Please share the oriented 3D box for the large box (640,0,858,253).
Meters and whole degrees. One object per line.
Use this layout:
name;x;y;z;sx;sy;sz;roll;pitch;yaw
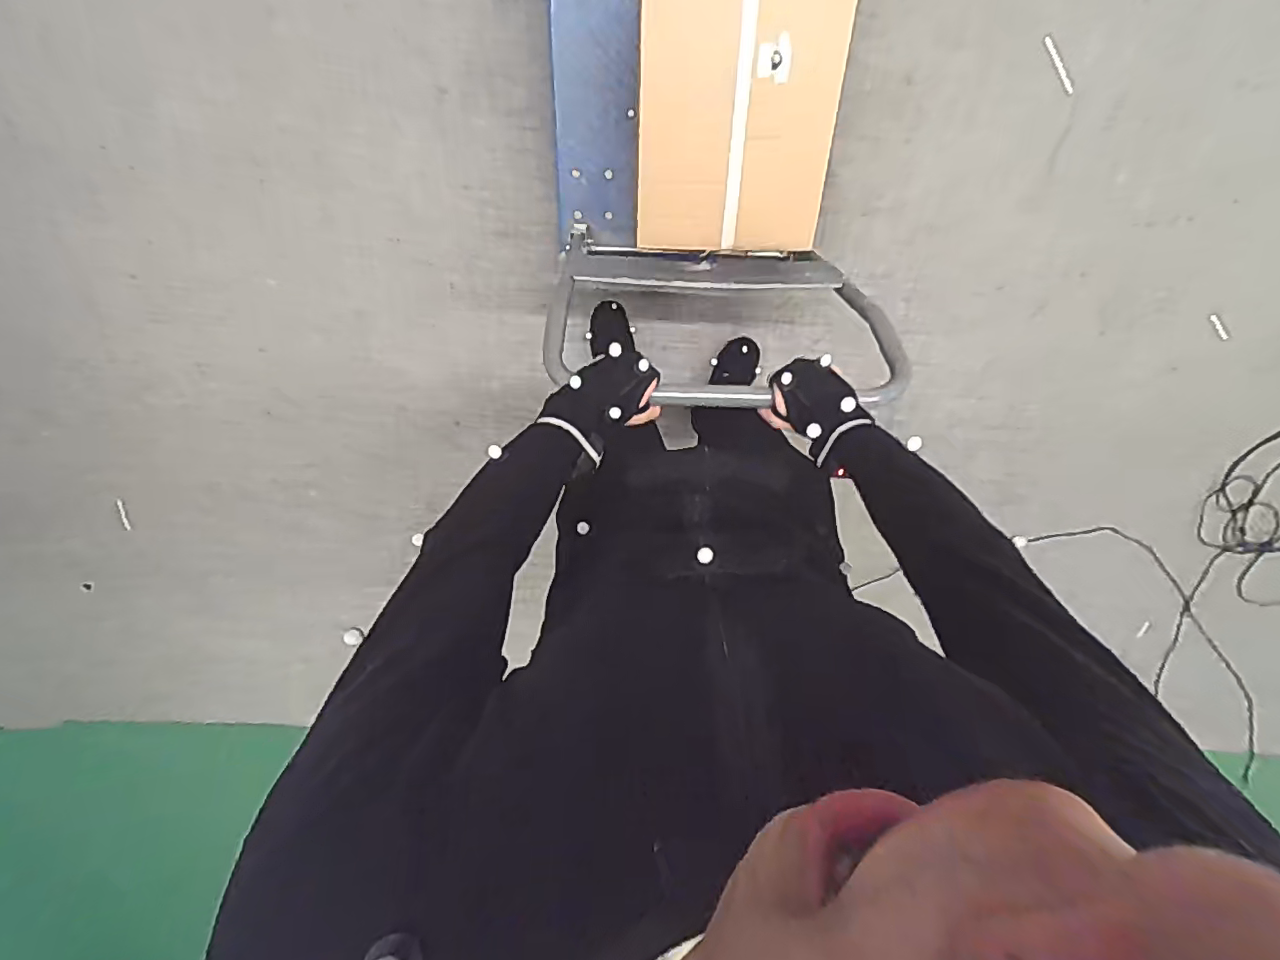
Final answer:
large box;0.157;-0.643;0.968;0.320;0.320;0.408;0;122;-2
